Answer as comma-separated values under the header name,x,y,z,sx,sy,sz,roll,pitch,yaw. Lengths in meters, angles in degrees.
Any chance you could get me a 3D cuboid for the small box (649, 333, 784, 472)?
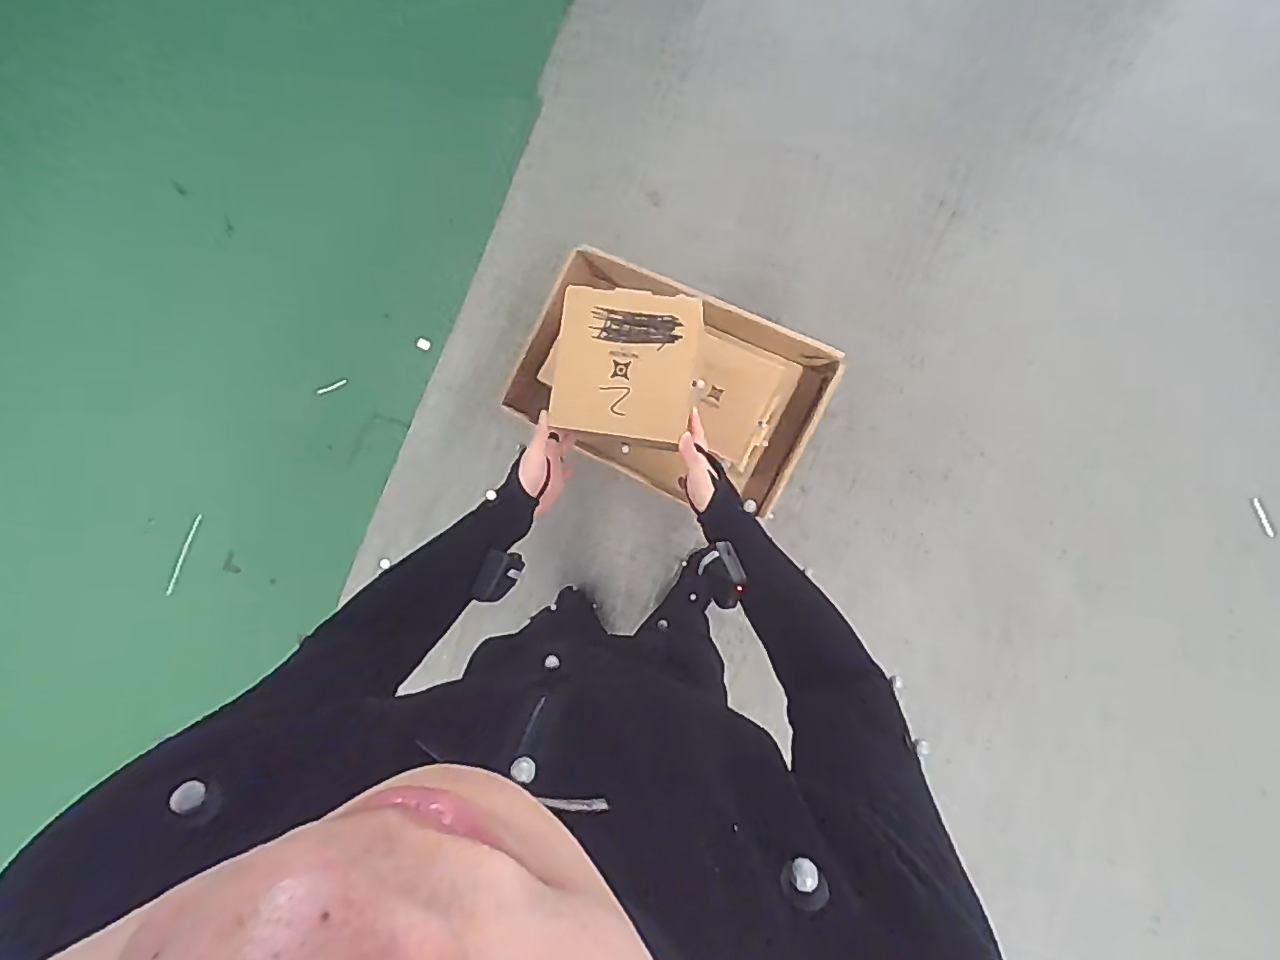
name,x,y,z,sx,sy,sz,roll,pitch,yaw
small box,0.138,-0.126,0.956,0.168,0.176,0.179,28,92,10
